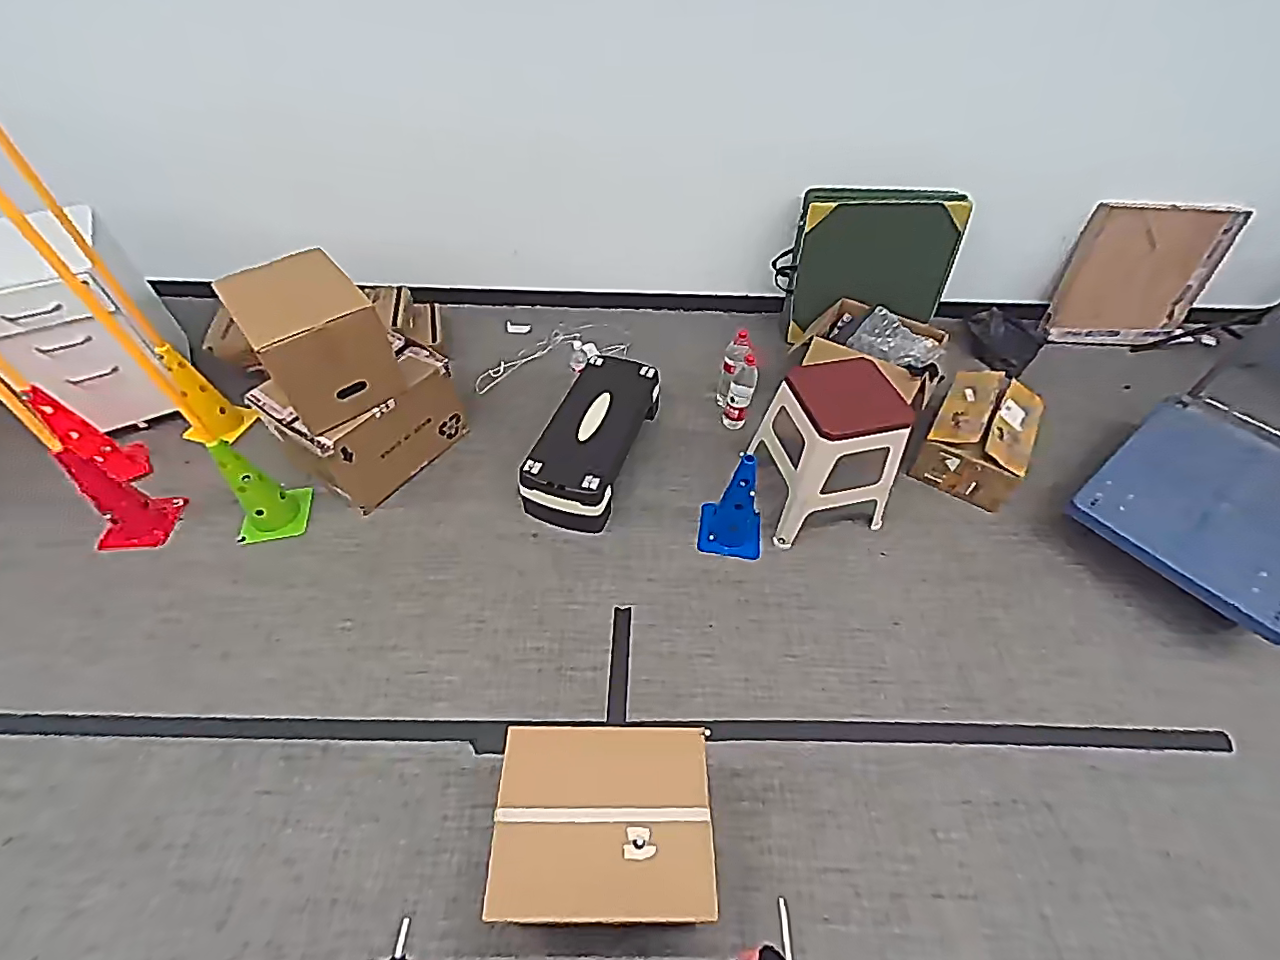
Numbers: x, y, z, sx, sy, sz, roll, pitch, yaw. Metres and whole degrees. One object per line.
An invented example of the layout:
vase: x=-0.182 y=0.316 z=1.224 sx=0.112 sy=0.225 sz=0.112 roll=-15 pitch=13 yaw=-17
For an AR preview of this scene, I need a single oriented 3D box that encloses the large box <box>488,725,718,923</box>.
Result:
large box: x=-0.073 y=0.721 z=1.131 sx=0.408 sy=0.320 sz=0.320 roll=2 pitch=51 yaw=-2
